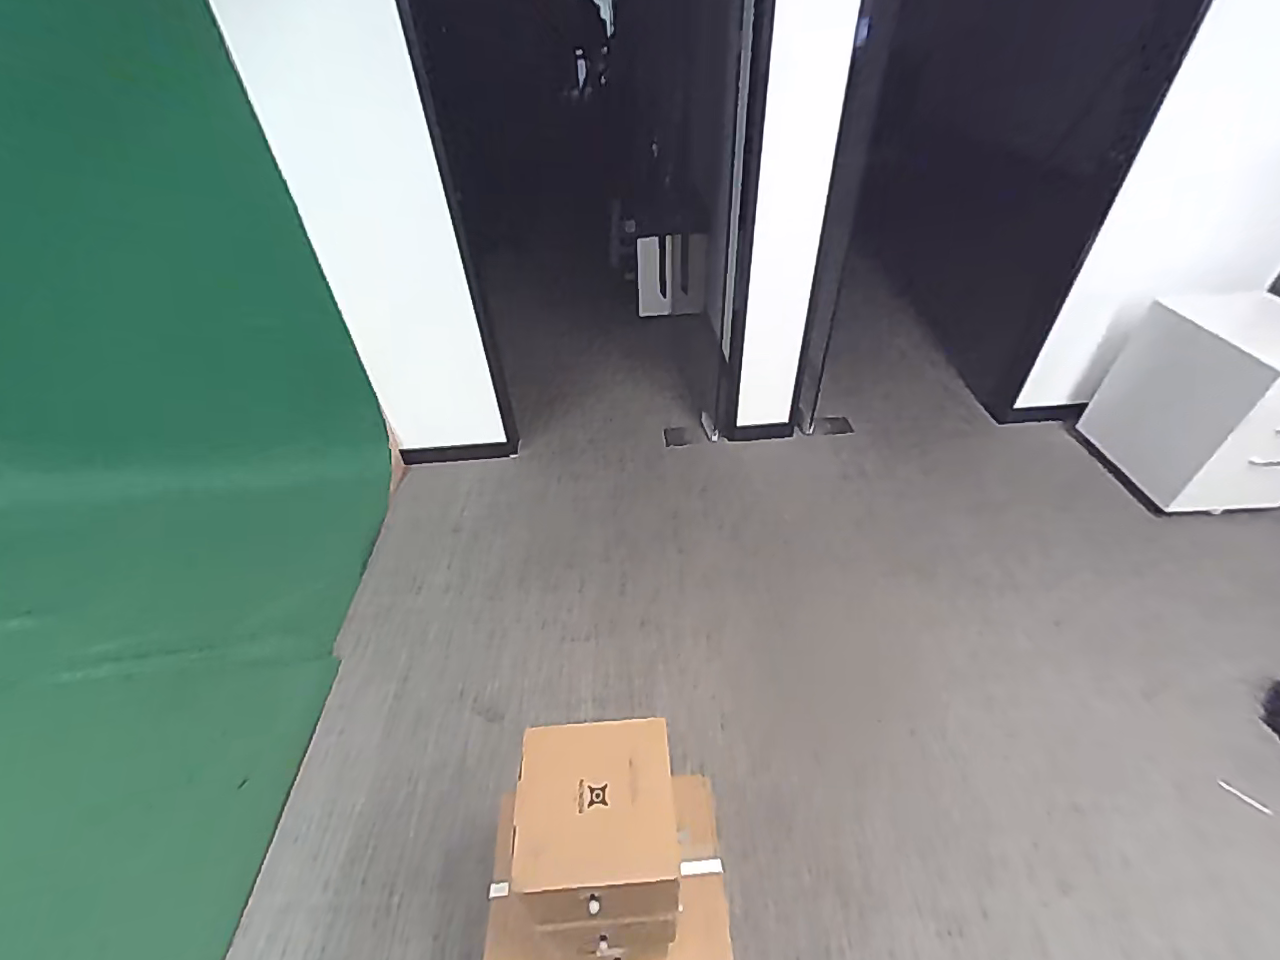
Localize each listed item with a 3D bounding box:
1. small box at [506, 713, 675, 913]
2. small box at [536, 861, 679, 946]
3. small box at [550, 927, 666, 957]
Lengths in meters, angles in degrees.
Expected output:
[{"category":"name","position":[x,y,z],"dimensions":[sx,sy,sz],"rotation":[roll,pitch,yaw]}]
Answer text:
[{"category":"small box","position":[-0.052,0.406,0.658],"dimensions":[0.179,0.176,0.168],"rotation":[-3,43,-2]},{"category":"small box","position":[-0.046,0.530,0.762],"dimensions":[0.179,0.176,0.168],"rotation":[-5,42,-4]},{"category":"small box","position":[-0.049,0.648,0.876],"dimensions":[0.168,0.176,0.179],"rotation":[-6,43,-3]}]
